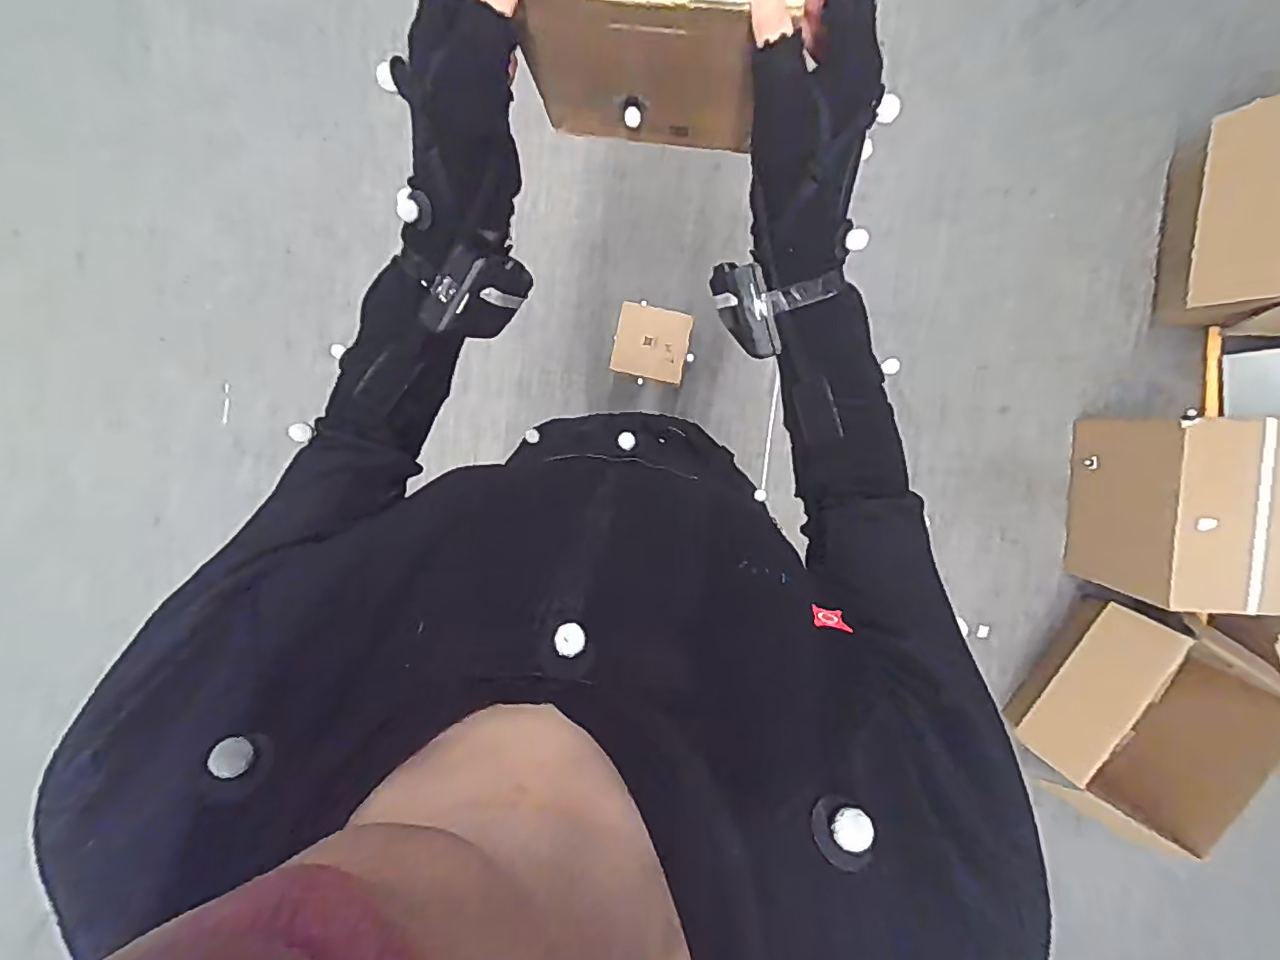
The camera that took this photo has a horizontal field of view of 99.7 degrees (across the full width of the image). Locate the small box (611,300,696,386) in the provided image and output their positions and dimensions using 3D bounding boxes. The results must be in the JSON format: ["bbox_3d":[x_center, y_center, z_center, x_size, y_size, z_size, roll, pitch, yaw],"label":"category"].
[{"bbox_3d":[0.037,-0.335,1.354,0.179,0.176,0.168,13,97,3],"label":"small box"}]
